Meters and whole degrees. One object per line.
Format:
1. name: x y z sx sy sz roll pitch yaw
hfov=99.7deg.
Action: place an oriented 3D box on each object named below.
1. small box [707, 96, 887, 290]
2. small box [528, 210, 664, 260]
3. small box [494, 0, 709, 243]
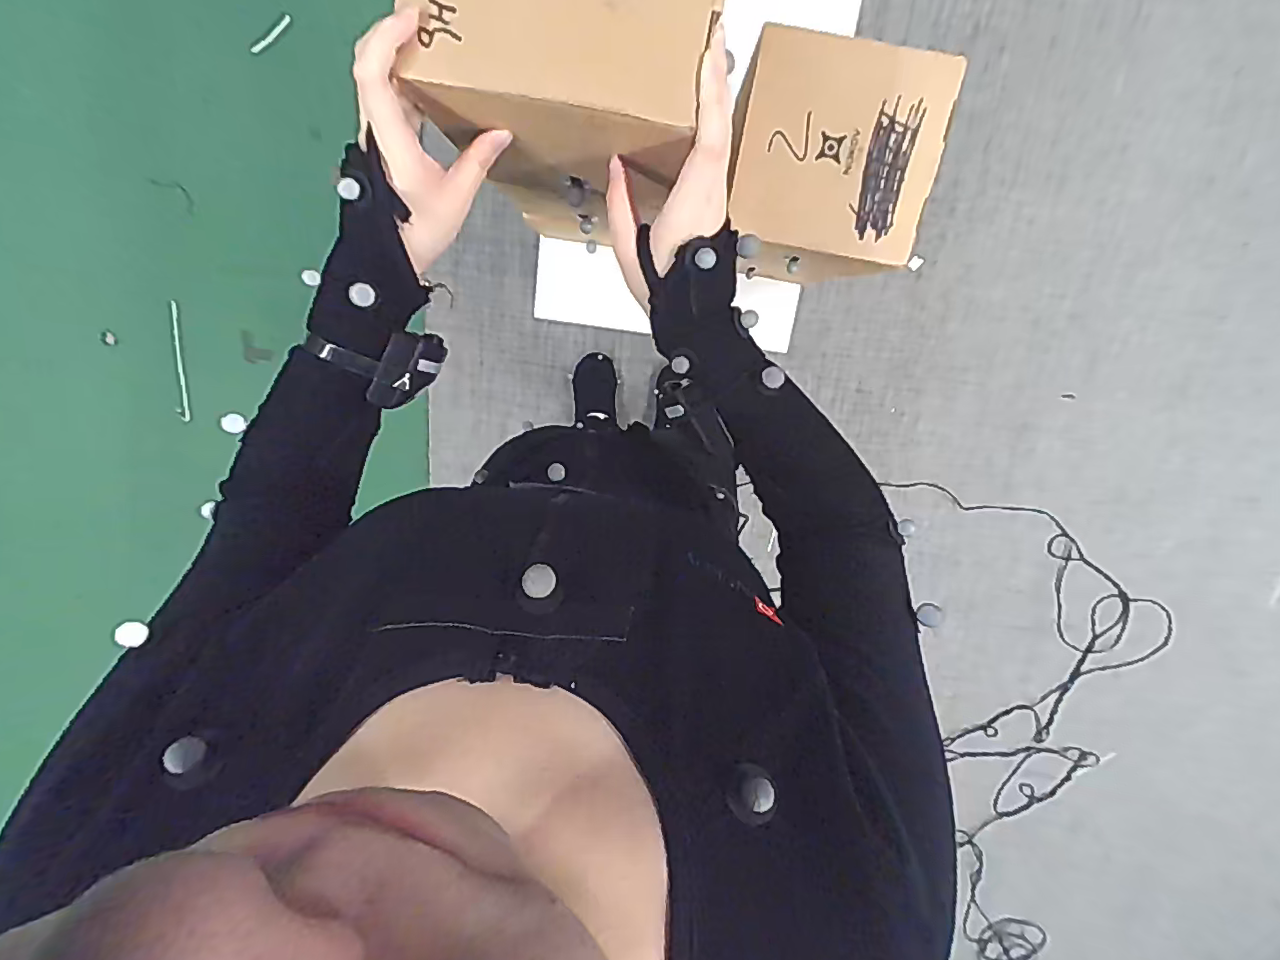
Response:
1. small box: 0.187 -0.357 0.707 0.168 0.176 0.179 10 107 -1
2. small box: -0.042 -0.396 0.698 0.168 0.176 0.179 8 107 -2
3. small box: -0.037 -0.353 0.539 0.168 0.176 0.179 9 106 -3
